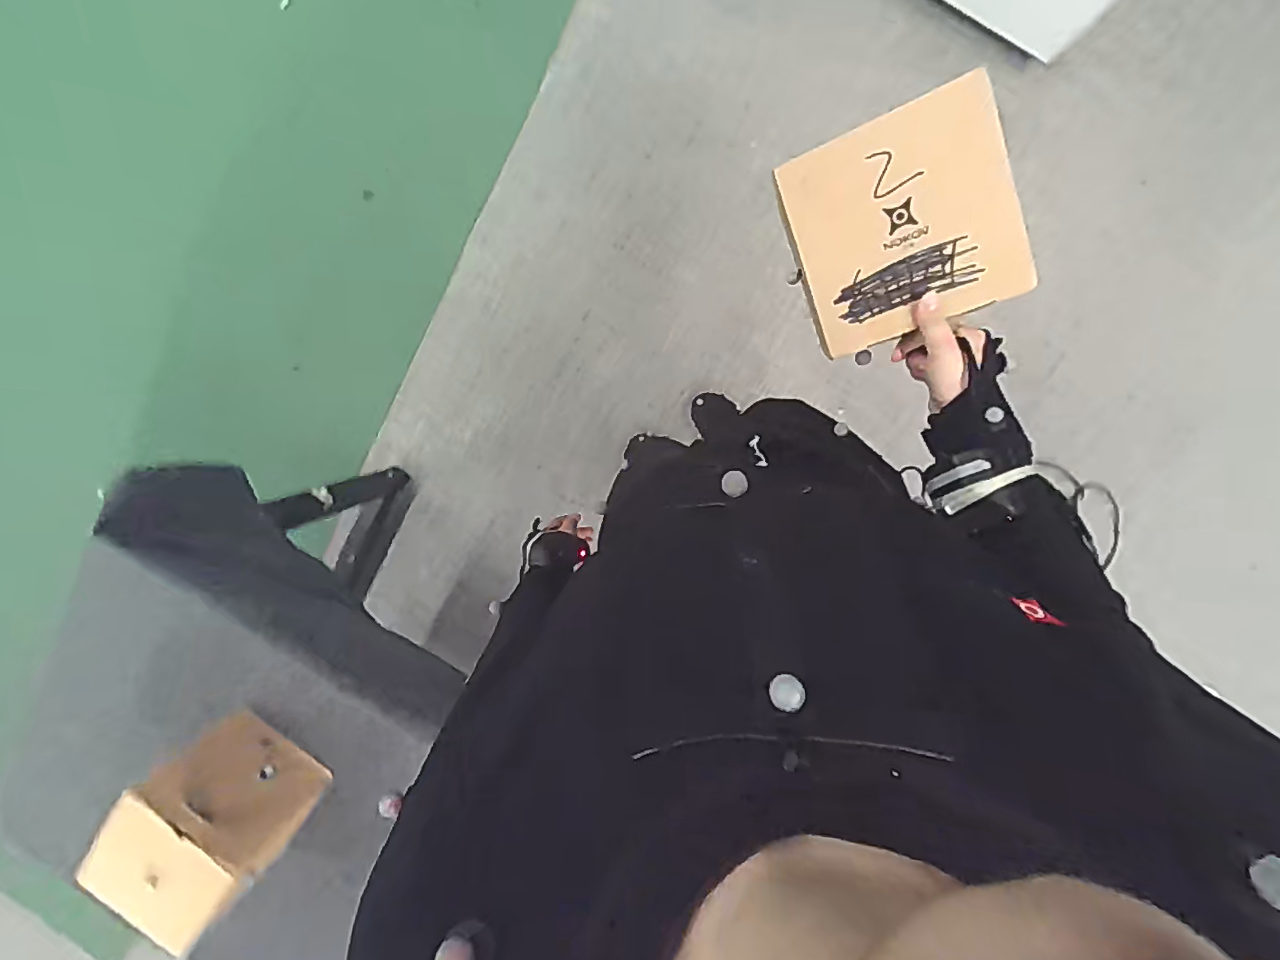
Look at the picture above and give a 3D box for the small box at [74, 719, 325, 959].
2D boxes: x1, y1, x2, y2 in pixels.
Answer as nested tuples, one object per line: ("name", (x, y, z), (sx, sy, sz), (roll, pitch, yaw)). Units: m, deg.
("small box", (-0.565, 0.466, 0.716), (0.168, 0.176, 0.179), (36, 103, 1))
